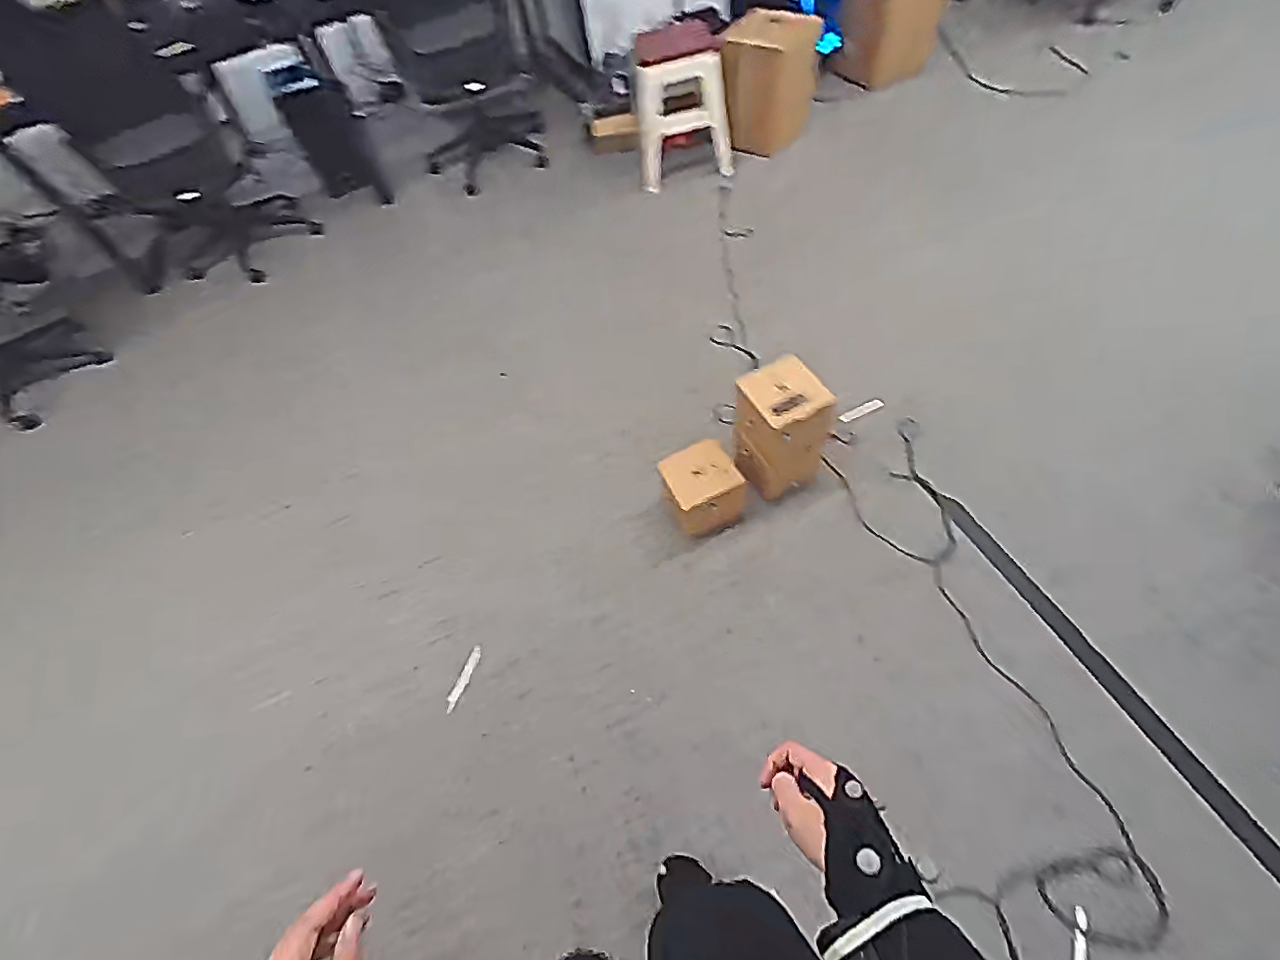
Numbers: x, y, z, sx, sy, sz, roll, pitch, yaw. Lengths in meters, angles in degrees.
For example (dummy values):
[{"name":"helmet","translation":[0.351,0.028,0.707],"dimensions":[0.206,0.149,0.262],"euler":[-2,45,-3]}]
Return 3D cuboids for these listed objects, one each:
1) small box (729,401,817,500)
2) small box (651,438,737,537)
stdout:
[{"name":"small box","translation":[0.355,-0.078,1.482],"dimensions":[0.168,0.176,0.179],"euler":[-27,58,-7]},{"name":"small box","translation":[0.150,0.026,1.452],"dimensions":[0.179,0.176,0.168],"euler":[-25,58,-6]}]
